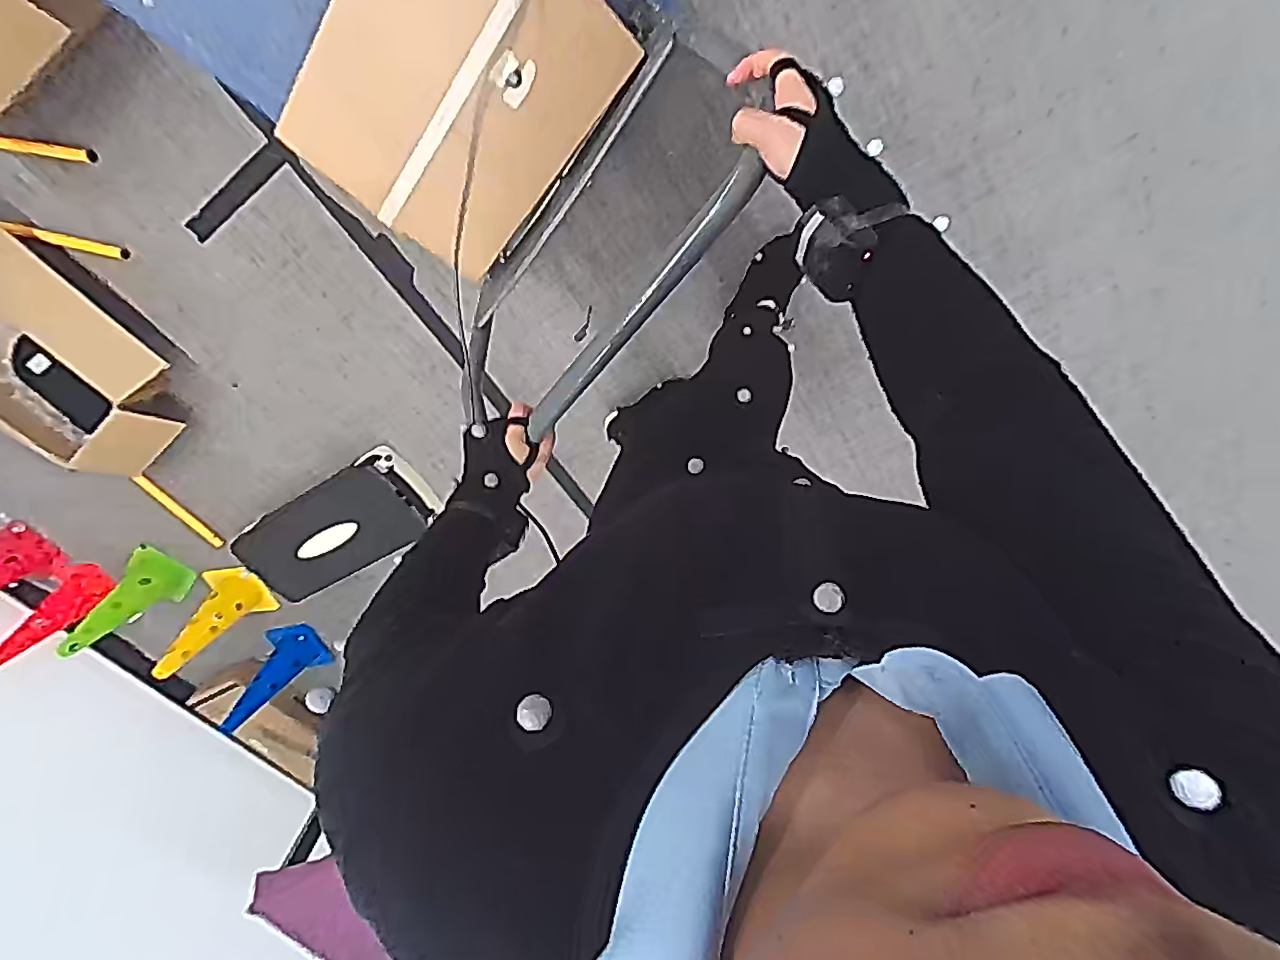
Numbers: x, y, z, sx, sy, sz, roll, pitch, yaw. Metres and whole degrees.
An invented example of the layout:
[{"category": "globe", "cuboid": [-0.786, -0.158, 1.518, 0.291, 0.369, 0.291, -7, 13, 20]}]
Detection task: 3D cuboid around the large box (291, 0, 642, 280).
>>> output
[{"category": "large box", "cuboid": [-0.249, -0.607, 0.833, 0.320, 0.320, 0.408, 32, 120, -29]}]
